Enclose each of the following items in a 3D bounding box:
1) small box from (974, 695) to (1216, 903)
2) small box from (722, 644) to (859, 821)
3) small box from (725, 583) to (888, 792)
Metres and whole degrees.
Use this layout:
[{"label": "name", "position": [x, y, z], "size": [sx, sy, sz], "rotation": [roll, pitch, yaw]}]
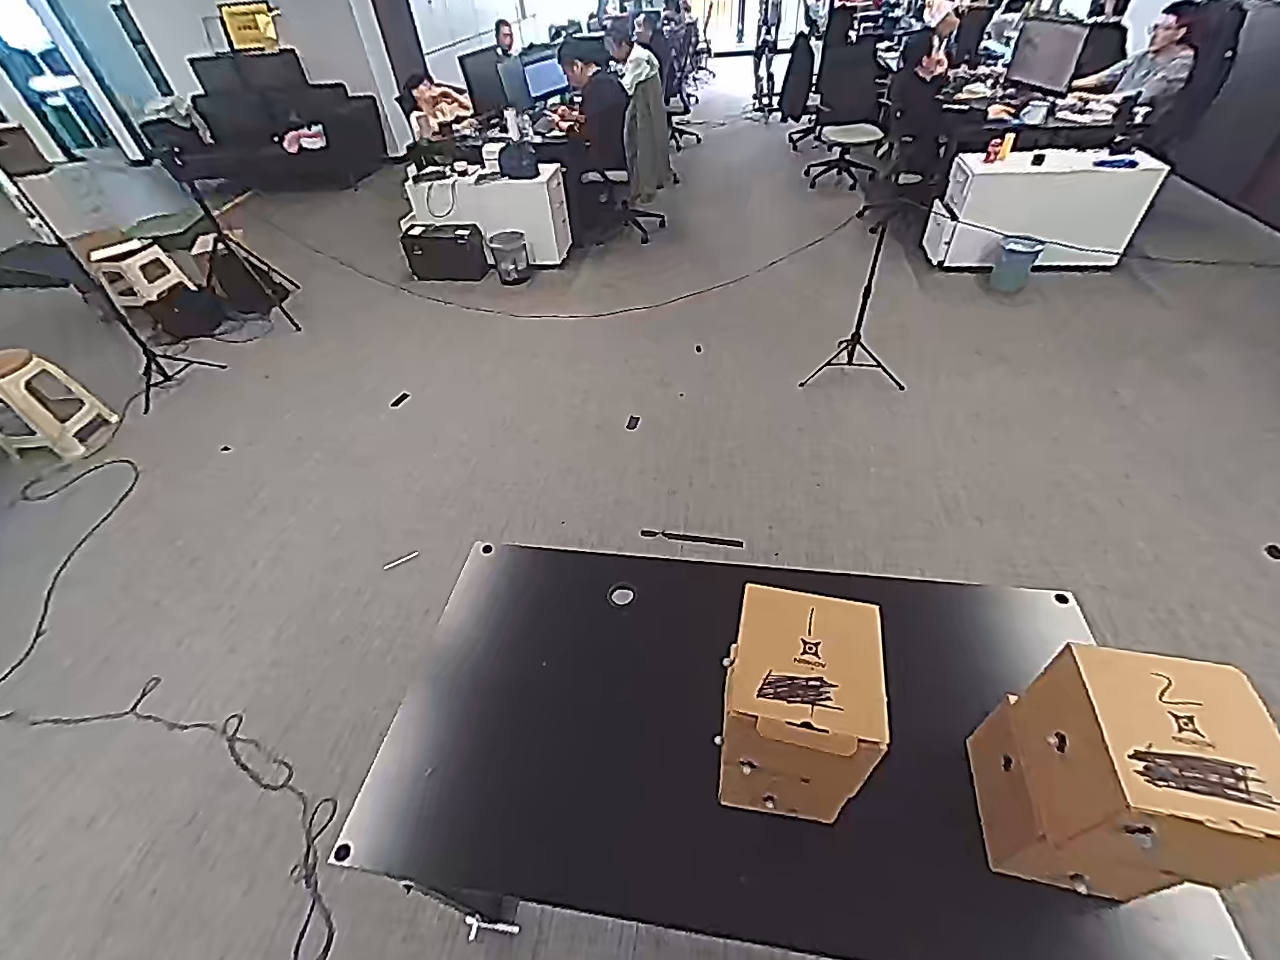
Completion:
[{"label": "small box", "position": [0.568, 0.418, 0.711], "size": [0.168, 0.176, 0.179], "rotation": [6, 45, 13]}, {"label": "small box", "position": [0.211, 0.371, 0.797], "size": [0.168, 0.176, 0.179], "rotation": [4, 45, 9]}, {"label": "small box", "position": [0.200, 0.260, 0.676], "size": [0.168, 0.176, 0.179], "rotation": [8, 45, 13]}]
